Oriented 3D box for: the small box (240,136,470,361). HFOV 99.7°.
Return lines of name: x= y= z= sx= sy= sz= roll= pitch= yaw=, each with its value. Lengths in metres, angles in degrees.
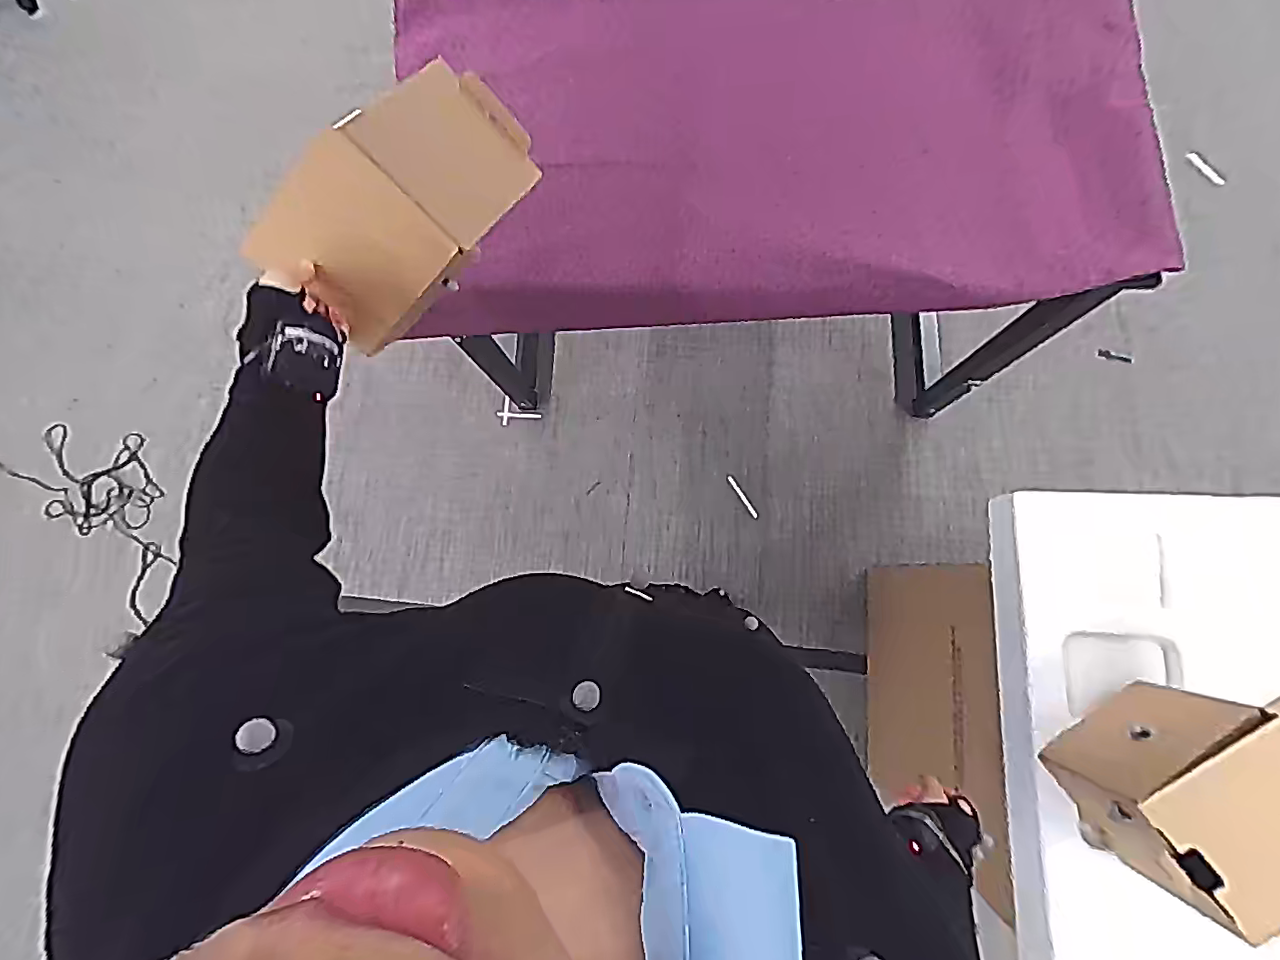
small box: x=-0.332 y=-0.281 z=0.674 sx=0.179 sy=0.176 sz=0.168 roll=-43 pitch=113 yaw=10
